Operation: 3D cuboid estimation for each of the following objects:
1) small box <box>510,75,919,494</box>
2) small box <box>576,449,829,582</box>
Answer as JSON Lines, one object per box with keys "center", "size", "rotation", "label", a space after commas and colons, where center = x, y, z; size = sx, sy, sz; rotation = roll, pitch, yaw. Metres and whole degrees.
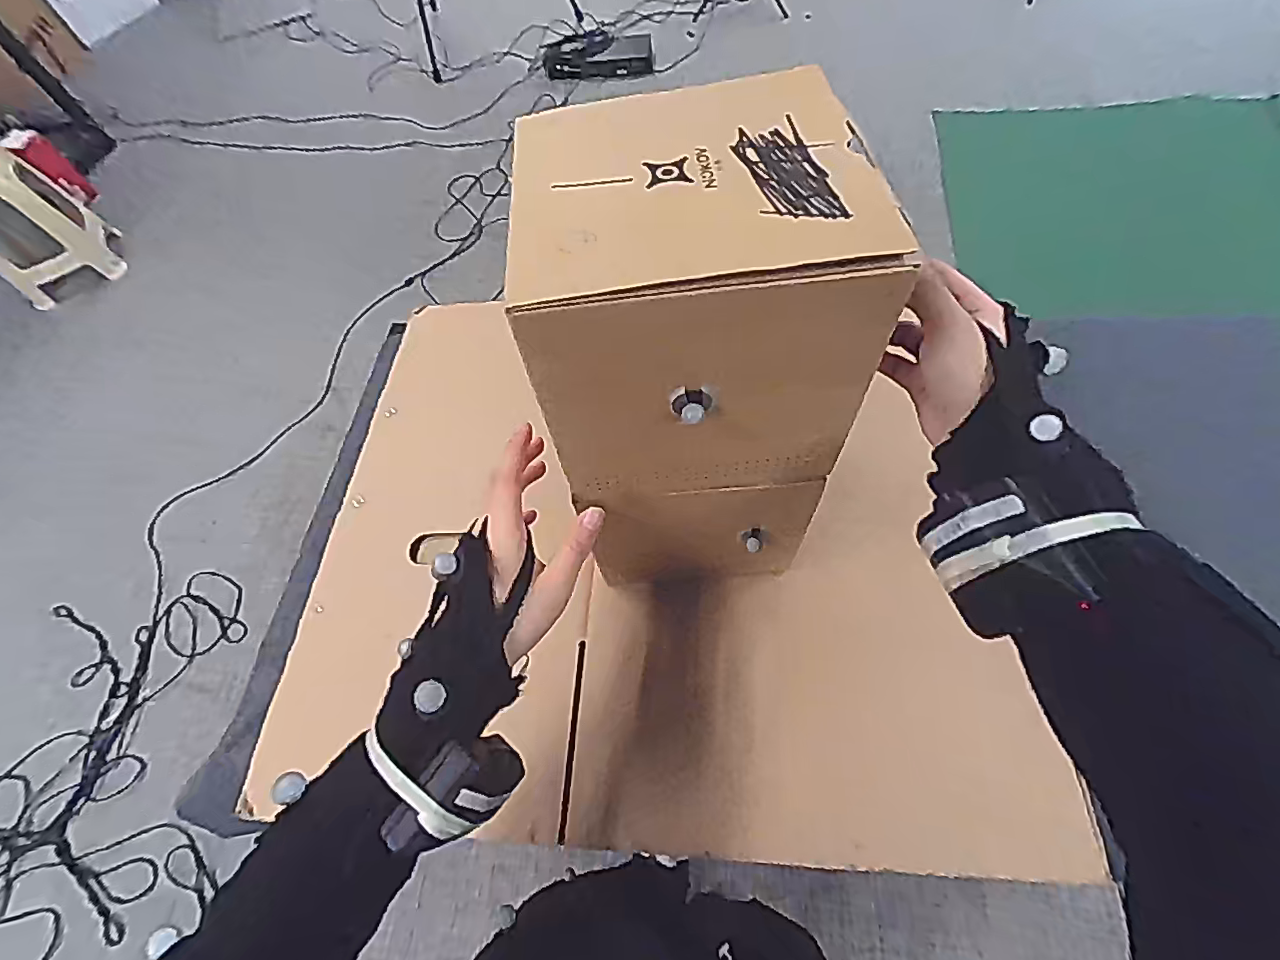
{"center": [0.032, -0.106, 0.334], "size": [0.179, 0.176, 0.168], "rotation": [-7, 59, 2], "label": "small box"}
{"center": [0.044, -0.020, 0.474], "size": [0.179, 0.176, 0.168], "rotation": [-6, 58, 3], "label": "small box"}
